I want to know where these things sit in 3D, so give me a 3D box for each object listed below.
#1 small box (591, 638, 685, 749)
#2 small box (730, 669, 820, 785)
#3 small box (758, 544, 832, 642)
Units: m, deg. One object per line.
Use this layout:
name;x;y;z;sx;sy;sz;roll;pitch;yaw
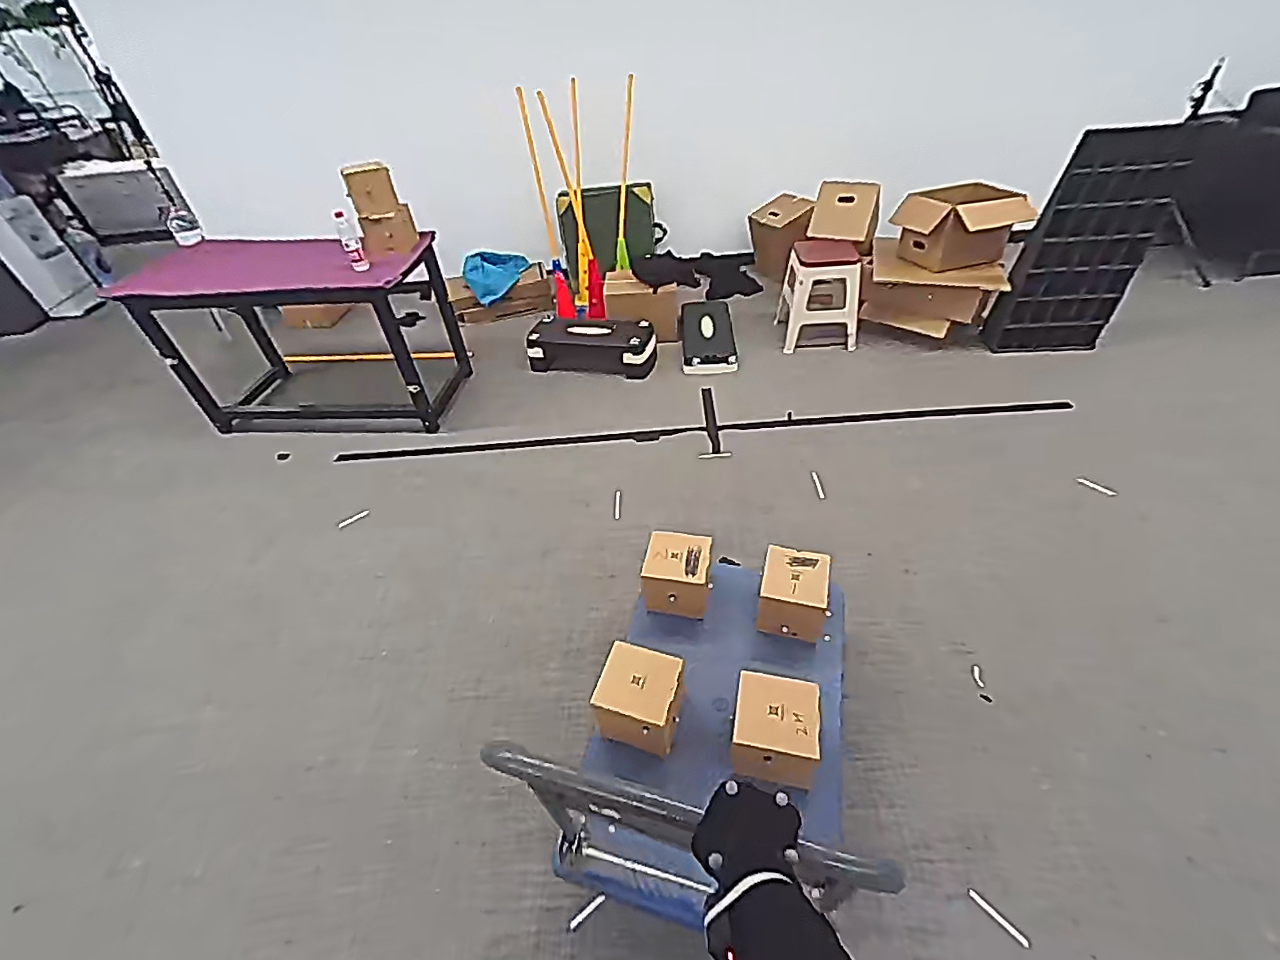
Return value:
small box;0.002;0.509;1.286;0.179;0.176;0.168;12;45;16
small box;0.299;0.553;1.208;0.179;0.176;0.168;7;44;14
small box;0.417;0.306;1.466;0.168;0.176;0.179;10;45;16
